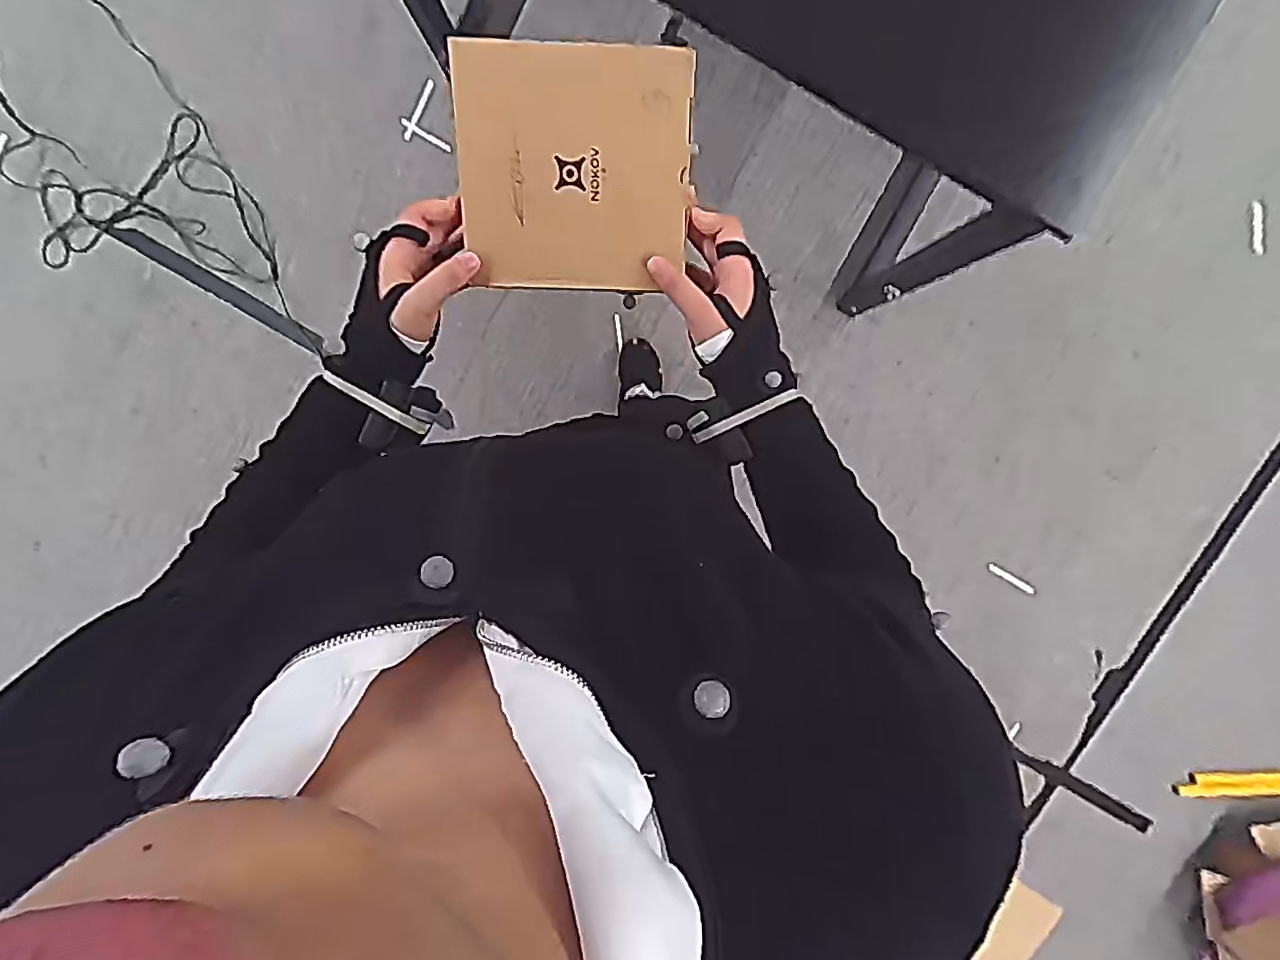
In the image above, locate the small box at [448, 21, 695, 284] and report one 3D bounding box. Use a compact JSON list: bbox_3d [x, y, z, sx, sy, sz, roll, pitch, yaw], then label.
[{"bbox_3d":[-0.052,-0.266,0.480,0.179,0.176,0.168,0,108,-1],"label":"small box"}]
